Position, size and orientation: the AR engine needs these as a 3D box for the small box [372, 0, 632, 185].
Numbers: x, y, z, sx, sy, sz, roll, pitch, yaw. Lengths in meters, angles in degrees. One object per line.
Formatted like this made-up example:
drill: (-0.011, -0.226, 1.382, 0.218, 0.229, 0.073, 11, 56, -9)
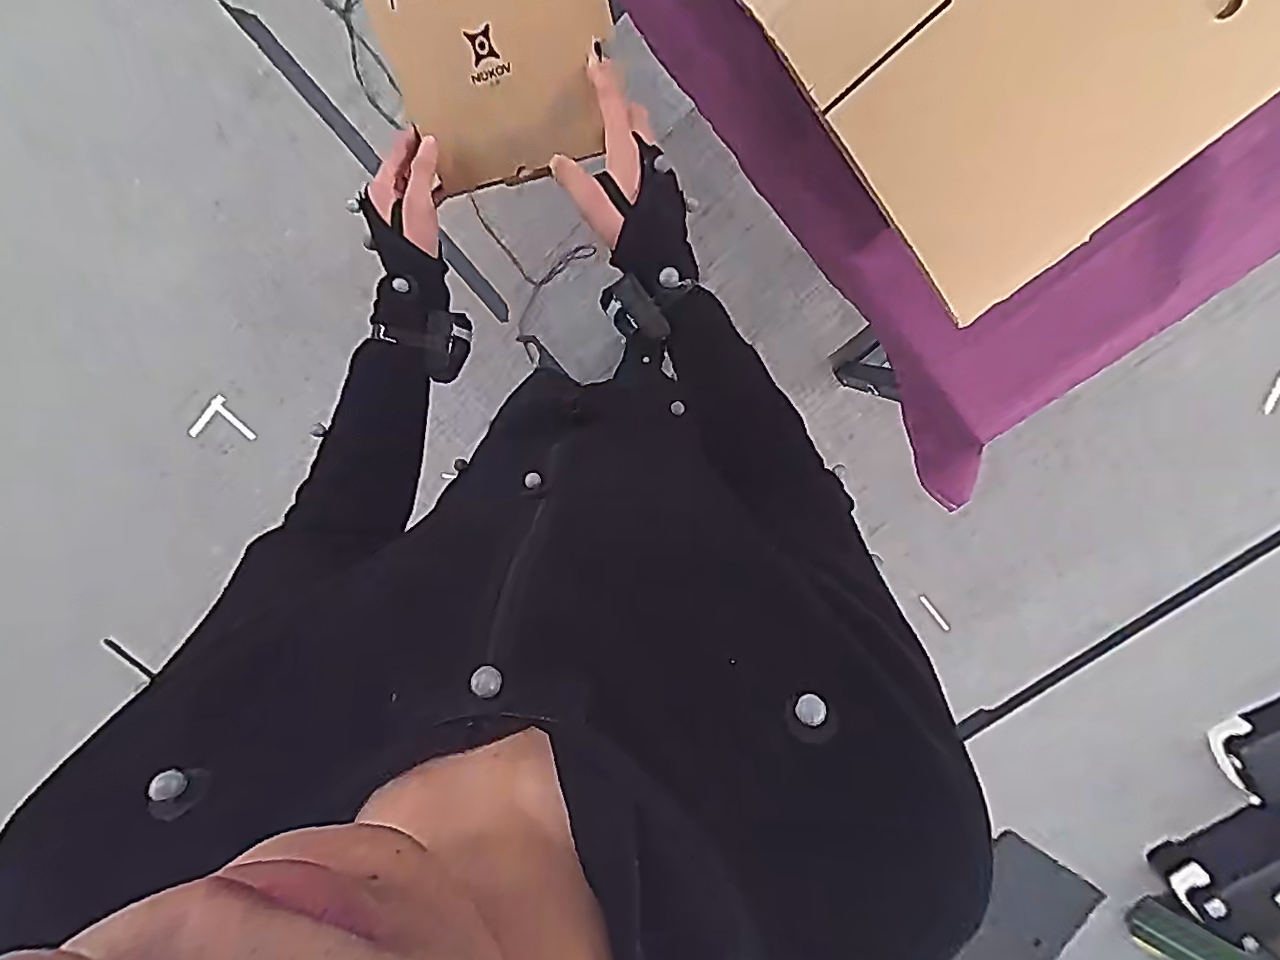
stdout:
small box: (-0.111, -0.403, 0.497, 0.168, 0.176, 0.179, -6, 129, 14)
